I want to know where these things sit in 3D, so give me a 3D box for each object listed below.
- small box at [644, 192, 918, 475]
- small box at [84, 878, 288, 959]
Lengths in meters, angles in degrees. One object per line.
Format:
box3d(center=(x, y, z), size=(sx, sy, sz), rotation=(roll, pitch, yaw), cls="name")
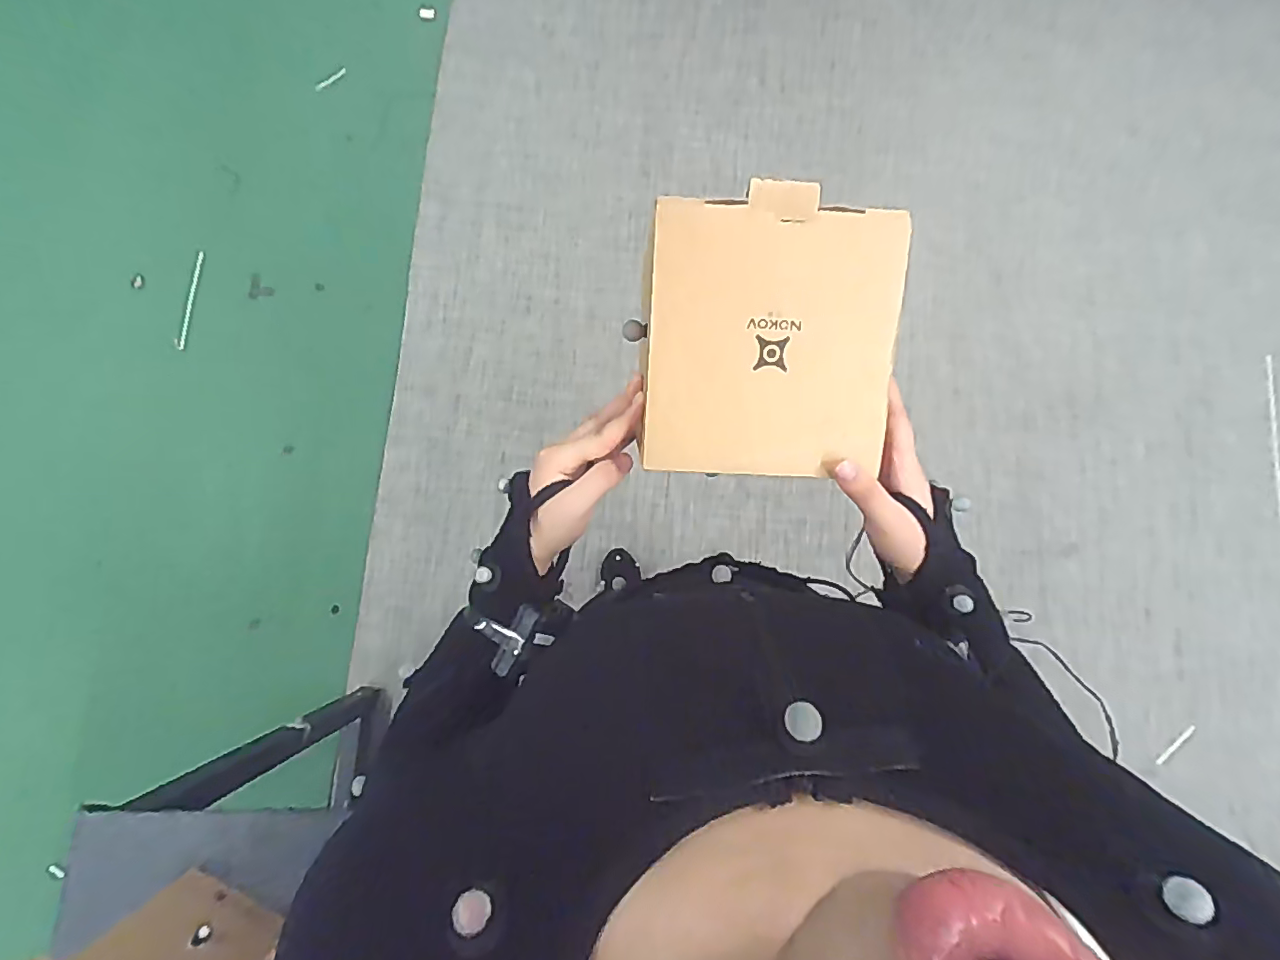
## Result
box3d(center=(0.090, -0.106, 0.433), size=(0.168, 0.176, 0.179), rotation=(2, 100, -2), cls="small box")
box3d(center=(-0.560, 0.624, 0.631), size=(0.168, 0.176, 0.179), rotation=(25, 86, 4), cls="small box")
